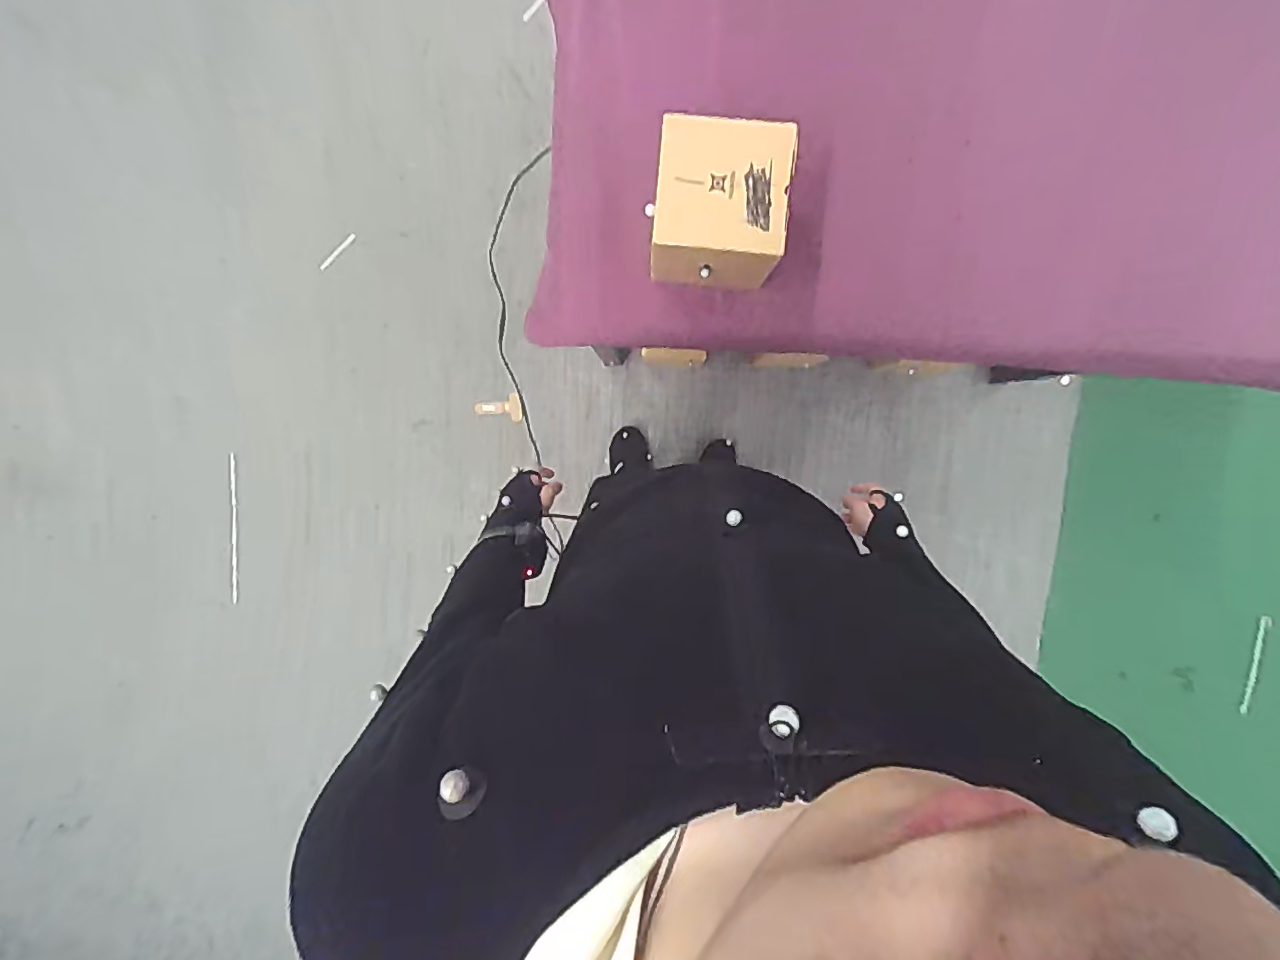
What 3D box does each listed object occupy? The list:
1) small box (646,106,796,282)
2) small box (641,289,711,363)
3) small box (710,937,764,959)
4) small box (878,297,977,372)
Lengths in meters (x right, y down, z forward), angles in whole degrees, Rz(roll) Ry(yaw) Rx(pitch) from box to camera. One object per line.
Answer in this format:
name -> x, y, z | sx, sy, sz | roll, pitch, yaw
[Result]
small box -> 0.105, -0.390, 0.768 | 0.179, 0.176, 0.168 | 6, 95, 2
small box -> 0.098, -0.421, 1.500 | 0.179, 0.176, 0.168 | 3, 96, 1
small box -> 0.310, 1.599, 1.697 | 0.168, 0.176, 0.179 | 3, 95, 1
small box -> 0.775, -0.391, 1.479 | 0.179, 0.176, 0.168 | 7, 96, 2
